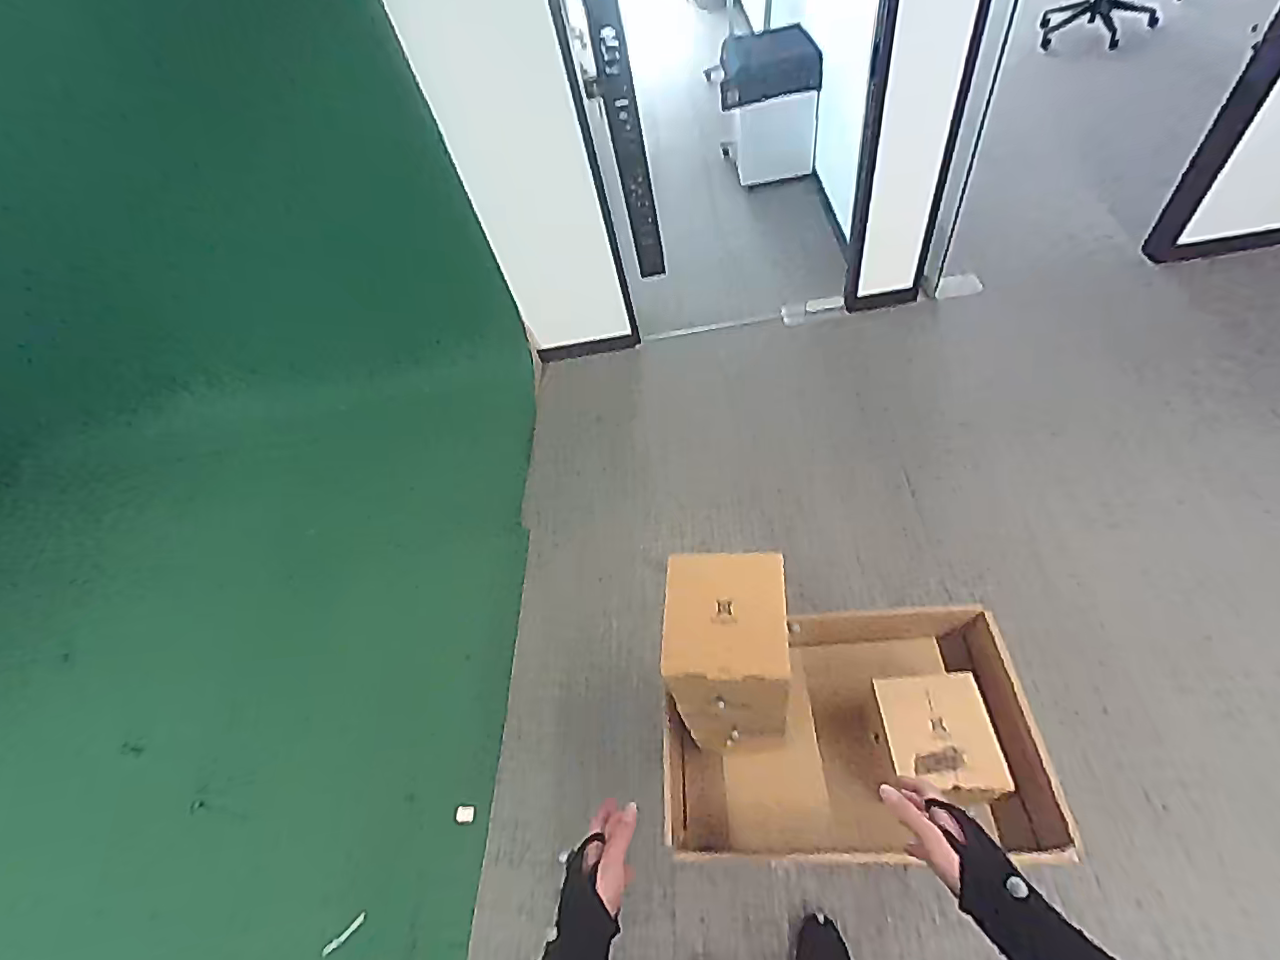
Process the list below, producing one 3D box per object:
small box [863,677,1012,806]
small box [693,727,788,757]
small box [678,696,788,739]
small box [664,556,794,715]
[{"bbox_3d":[0.500,0.459,0.939,0.168,0.176,0.179,-6,51,9],"label":"small box"},{"bbox_3d":[0.191,0.422,1.046,0.168,0.176,0.179,-5,53,10],"label":"small box"},{"bbox_3d":[0.160,0.324,0.918,0.168,0.176,0.179,-4,53,12],"label":"small box"},{"bbox_3d":[0.132,0.227,0.792,0.168,0.176,0.179,-3,53,12],"label":"small box"}]
